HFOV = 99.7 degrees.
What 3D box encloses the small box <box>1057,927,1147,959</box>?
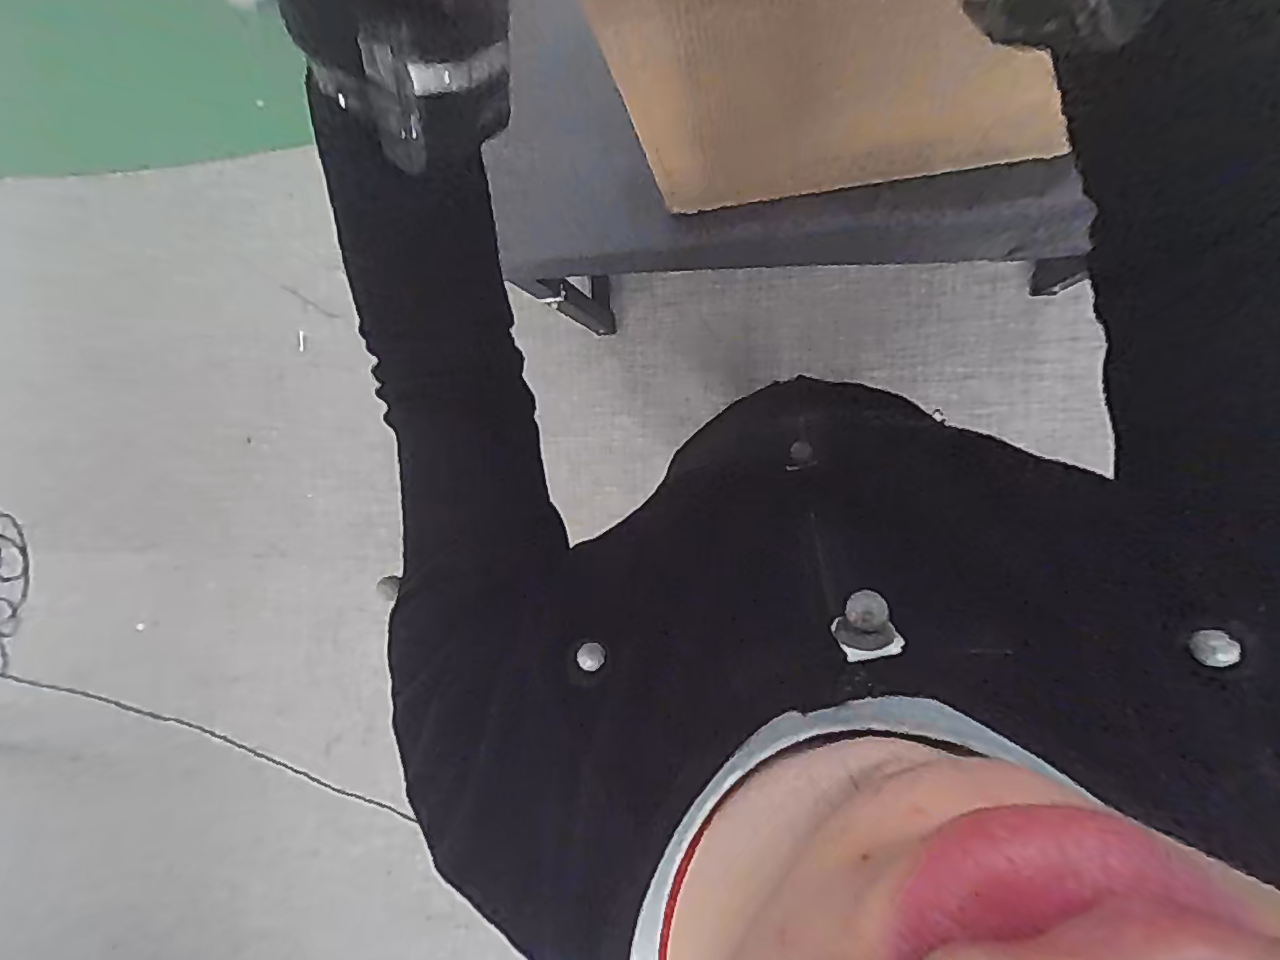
[{"bbox_3d":[1.206,1.286,1.378,0.168,0.176,0.179,-14,94,15],"label":"small box"}]
